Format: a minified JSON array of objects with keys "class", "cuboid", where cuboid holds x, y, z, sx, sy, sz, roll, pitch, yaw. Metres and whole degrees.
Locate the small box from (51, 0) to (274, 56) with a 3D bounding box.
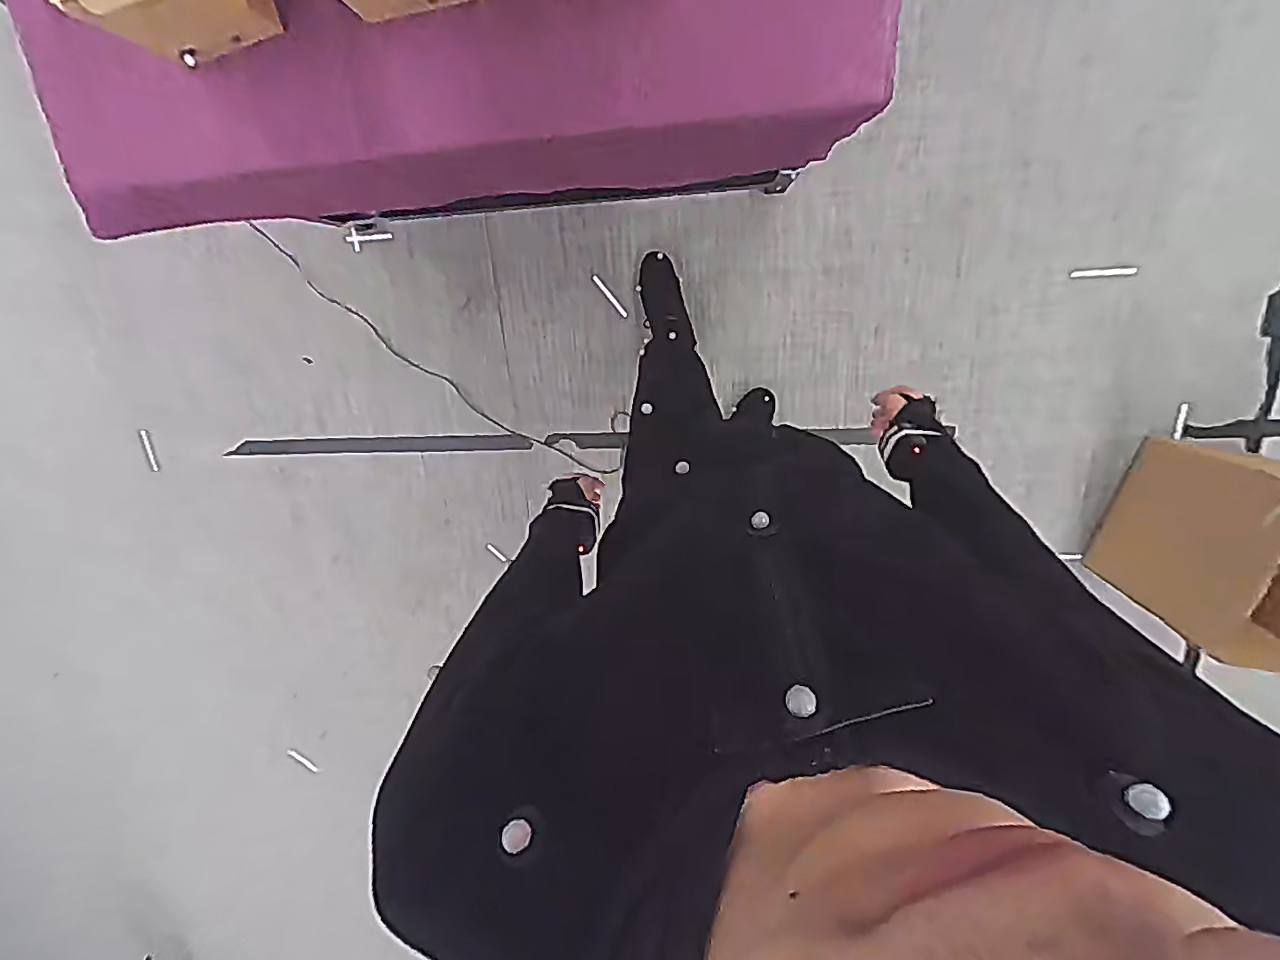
[{"class":"small box","cuboid":[-0.591,-0.649,0.646,0.168,0.176,0.179,-11,106,9]}]
